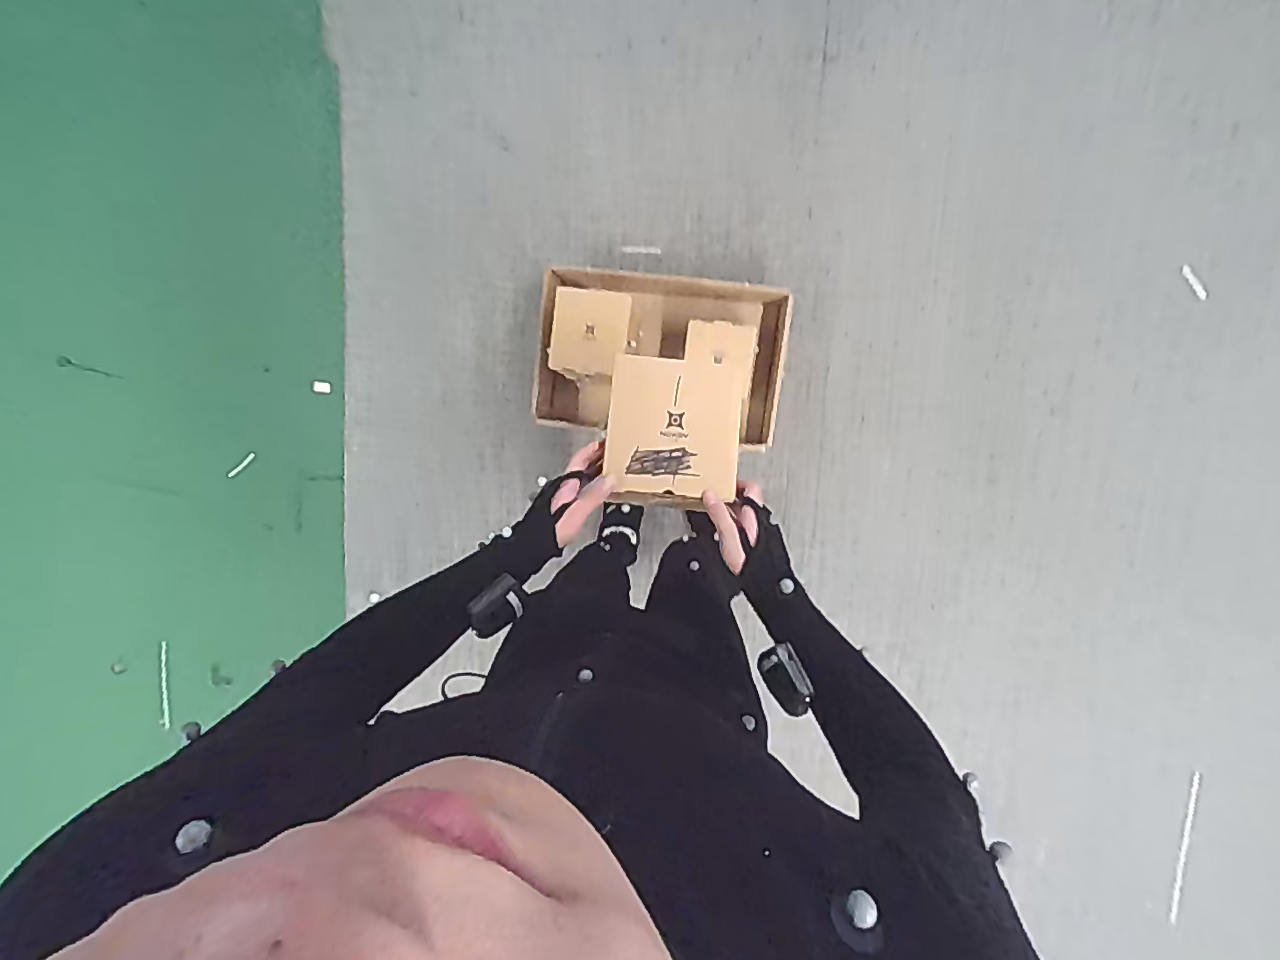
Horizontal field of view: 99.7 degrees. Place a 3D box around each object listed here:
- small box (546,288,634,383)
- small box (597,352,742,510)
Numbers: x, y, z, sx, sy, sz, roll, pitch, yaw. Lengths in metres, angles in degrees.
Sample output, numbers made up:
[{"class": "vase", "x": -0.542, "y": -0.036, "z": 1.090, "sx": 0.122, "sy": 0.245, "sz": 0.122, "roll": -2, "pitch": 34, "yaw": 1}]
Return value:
[{"class": "small box", "x": -0.108, "y": -0.321, "z": 1.236, "sx": 0.168, "sy": 0.176, "sz": 0.179, "roll": 8, "pitch": 96, "yaw": 3}, {"class": "small box", "x": 0.035, "y": -0.055, "z": 0.731, "sx": 0.168, "sy": 0.176, "sz": 0.179, "roll": 5, "pitch": 82, "yaw": -2}]
